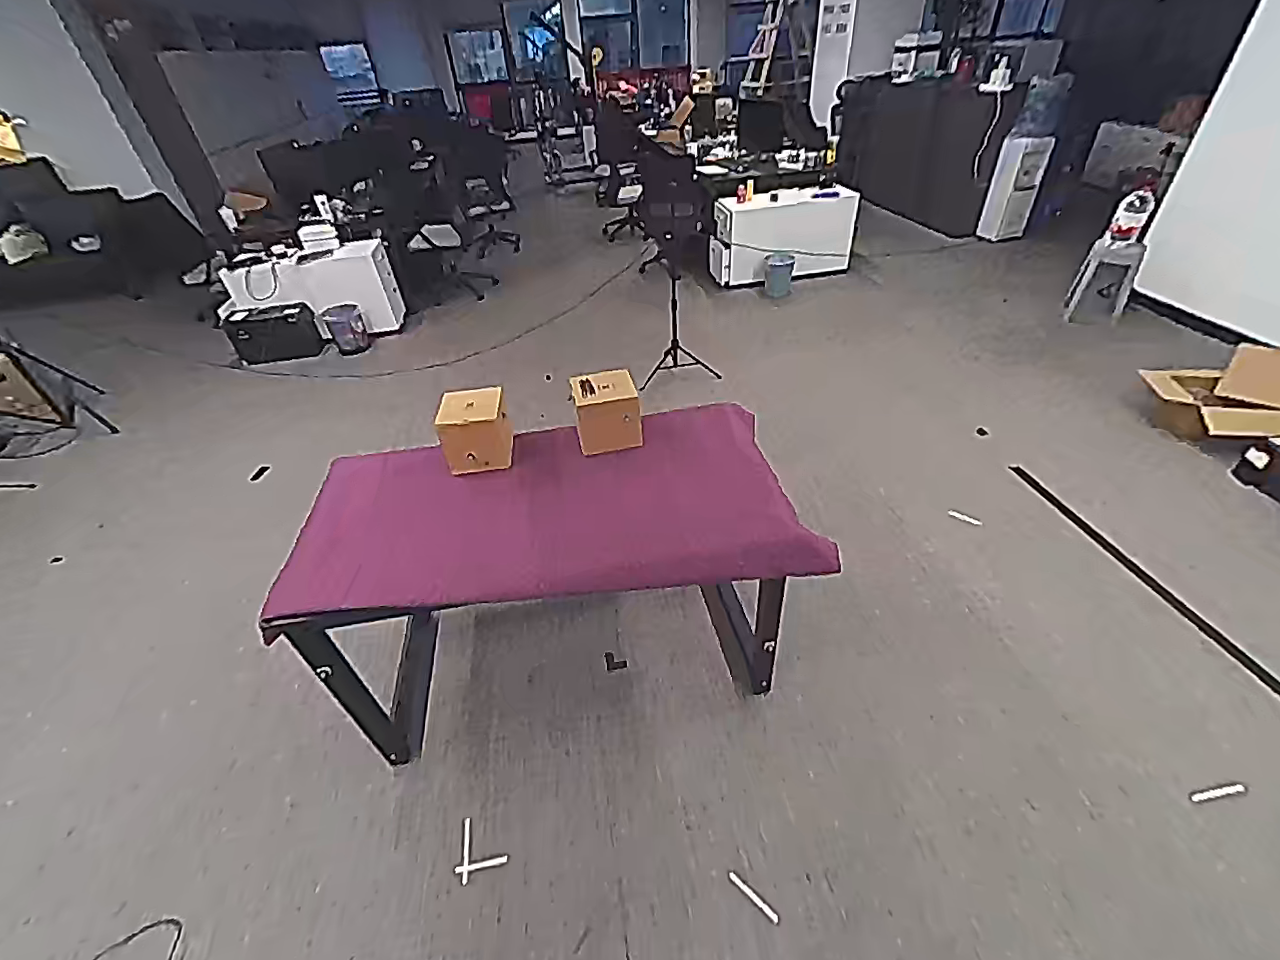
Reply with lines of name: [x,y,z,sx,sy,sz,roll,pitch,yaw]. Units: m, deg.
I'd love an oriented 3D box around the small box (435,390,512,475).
small box: [-0.466,-0.134,1.538,0.168,0.176,0.179,-7,39,-4]
